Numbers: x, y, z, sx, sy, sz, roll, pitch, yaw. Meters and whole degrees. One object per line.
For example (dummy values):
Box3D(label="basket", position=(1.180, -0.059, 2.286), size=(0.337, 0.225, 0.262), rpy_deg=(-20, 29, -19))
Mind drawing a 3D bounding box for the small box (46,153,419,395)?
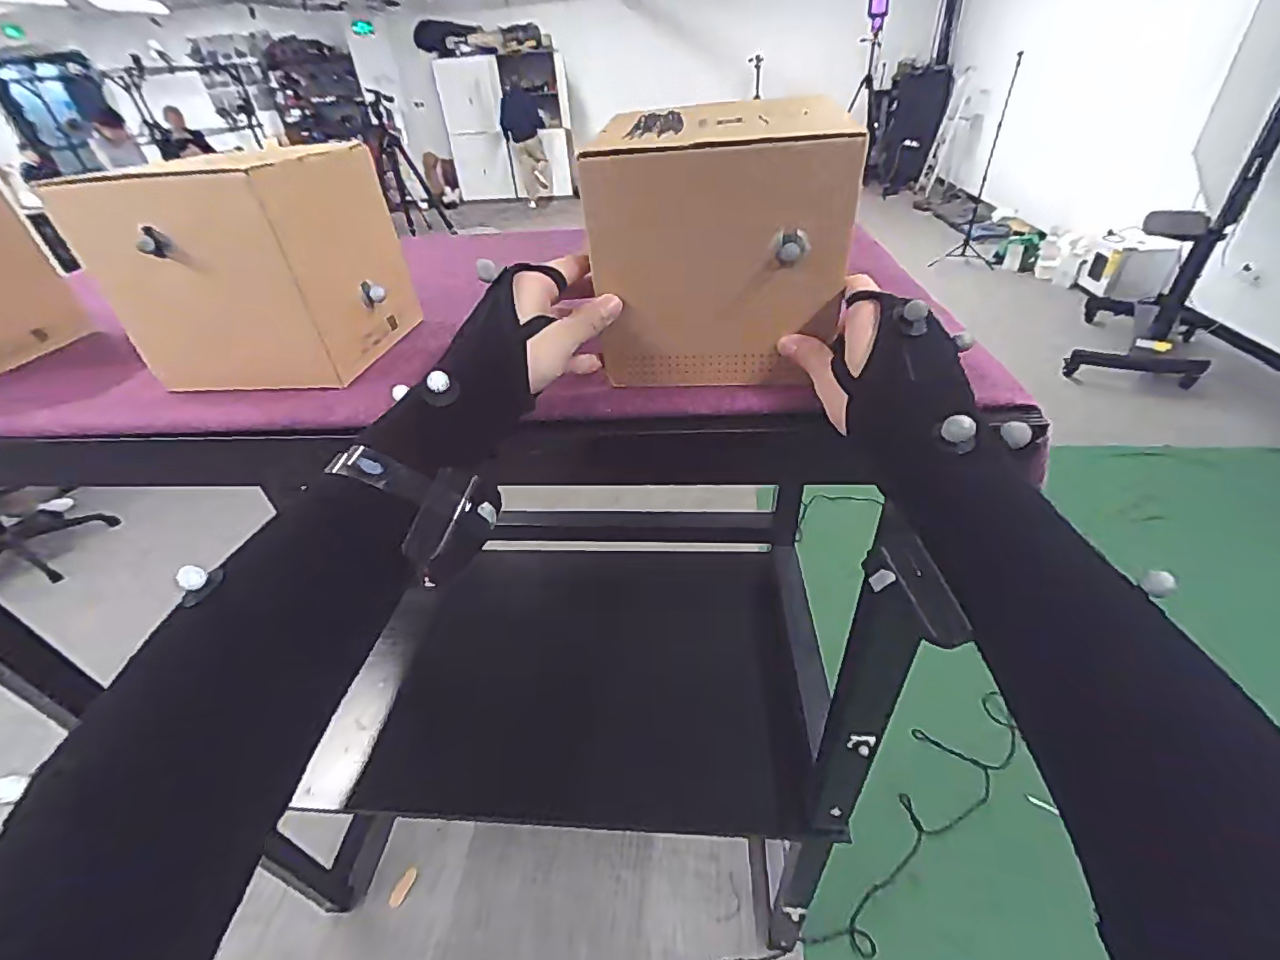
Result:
Box3D(label="small box", position=(-0.340, -0.187, 0.496), size=(0.179, 0.176, 0.168), rpy_deg=(0, 38, 8))

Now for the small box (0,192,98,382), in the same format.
Box3D(label="small box", position=(-0.729, -0.180, 0.541), size=(0.179, 0.176, 0.168), rpy_deg=(-2, 37, 6))
